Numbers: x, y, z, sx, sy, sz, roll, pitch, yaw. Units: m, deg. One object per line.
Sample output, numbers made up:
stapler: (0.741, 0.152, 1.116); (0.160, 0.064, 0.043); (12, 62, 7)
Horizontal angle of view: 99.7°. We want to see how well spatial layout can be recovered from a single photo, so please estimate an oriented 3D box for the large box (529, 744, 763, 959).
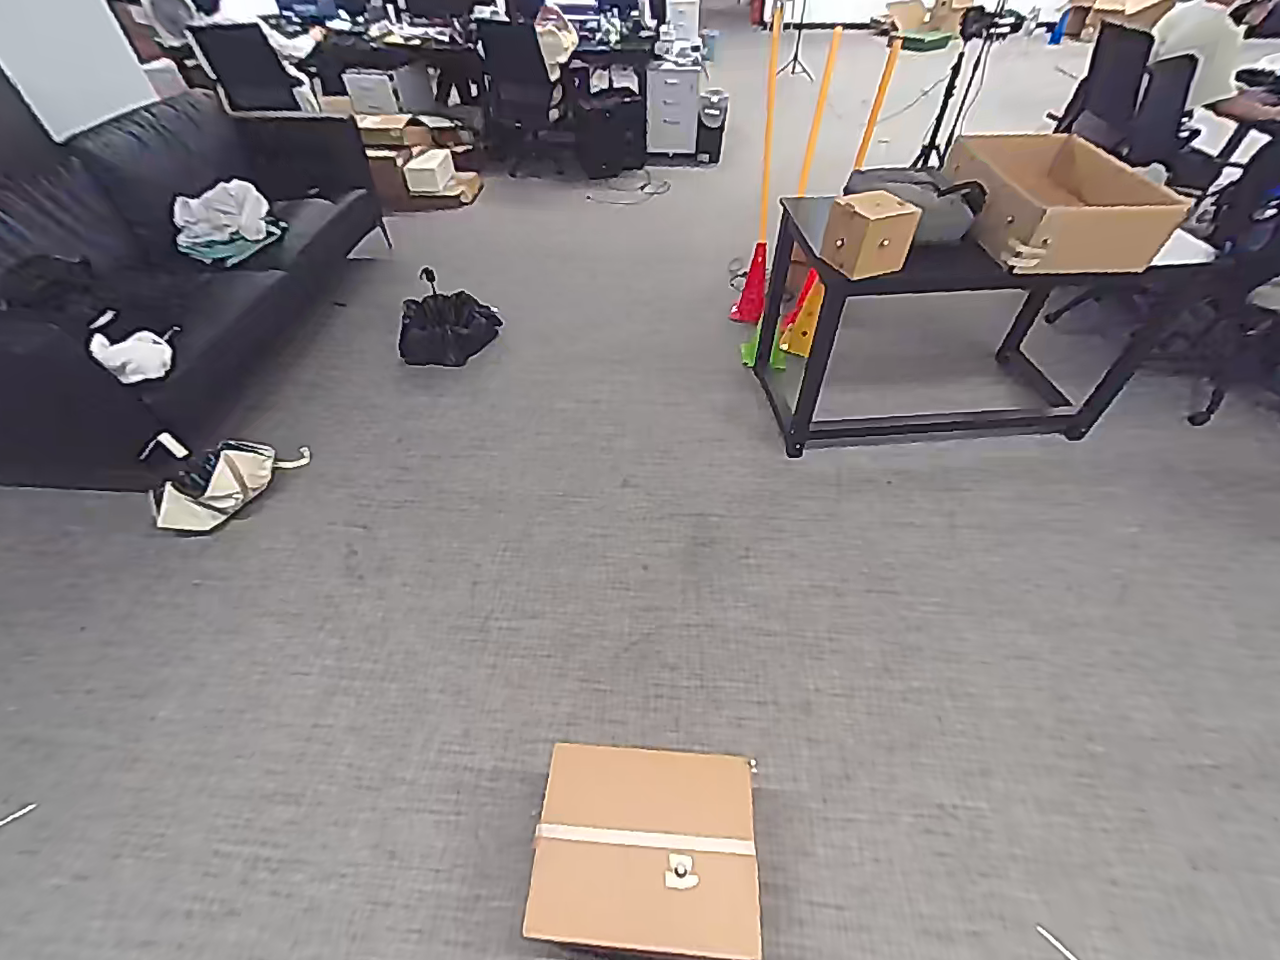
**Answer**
large box: (0.017, 0.768, 1.113); (0.408, 0.320, 0.320); (3, 48, 4)
